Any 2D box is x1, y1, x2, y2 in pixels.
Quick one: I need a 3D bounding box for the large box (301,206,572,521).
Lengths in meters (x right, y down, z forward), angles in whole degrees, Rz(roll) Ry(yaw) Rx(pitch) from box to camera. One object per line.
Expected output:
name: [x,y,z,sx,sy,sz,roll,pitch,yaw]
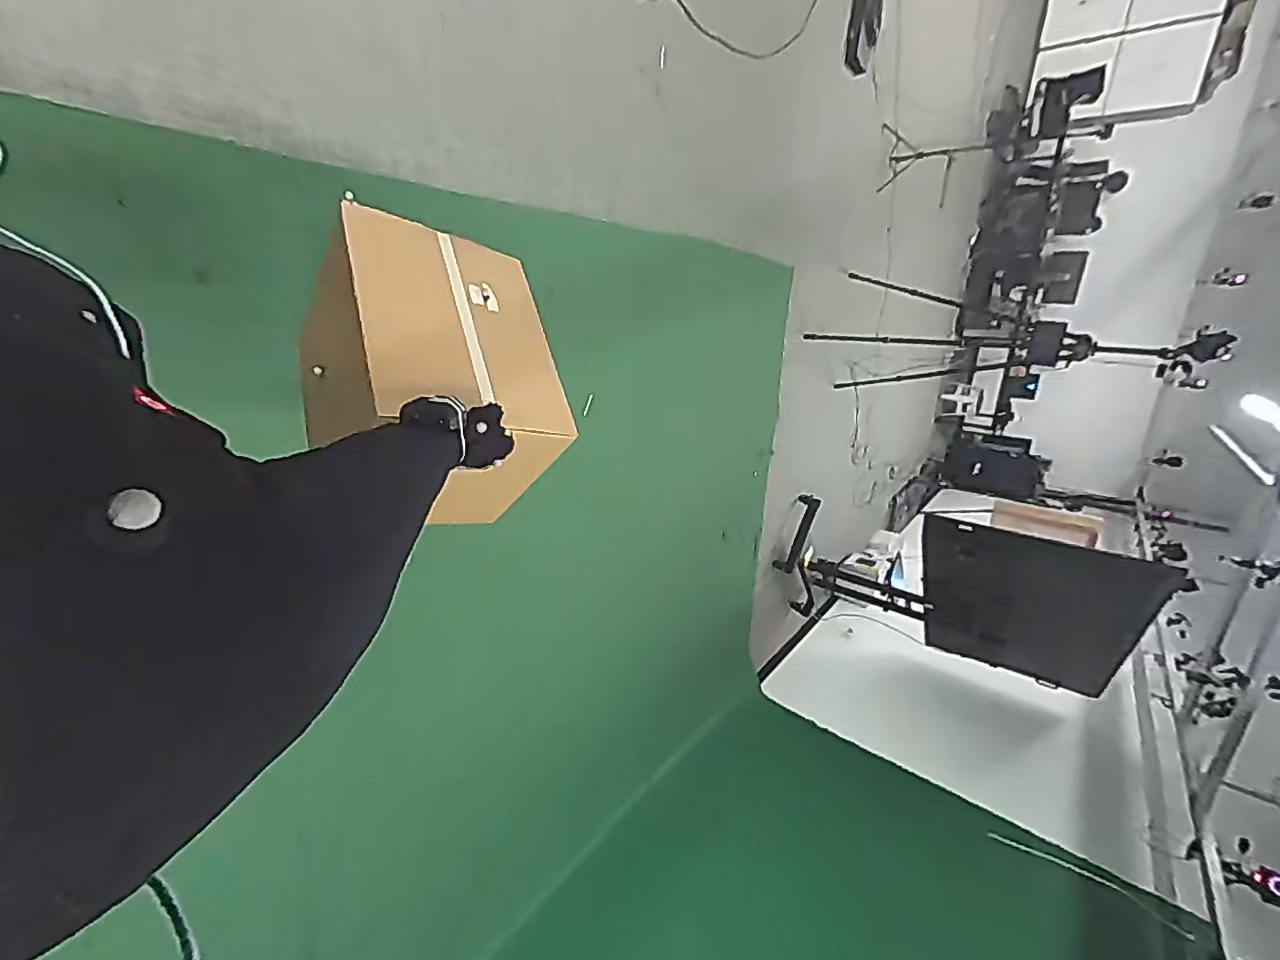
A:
large box: [-0.377,-0.176,0.955,0.320,0.320,0.408,2,58,-44]
